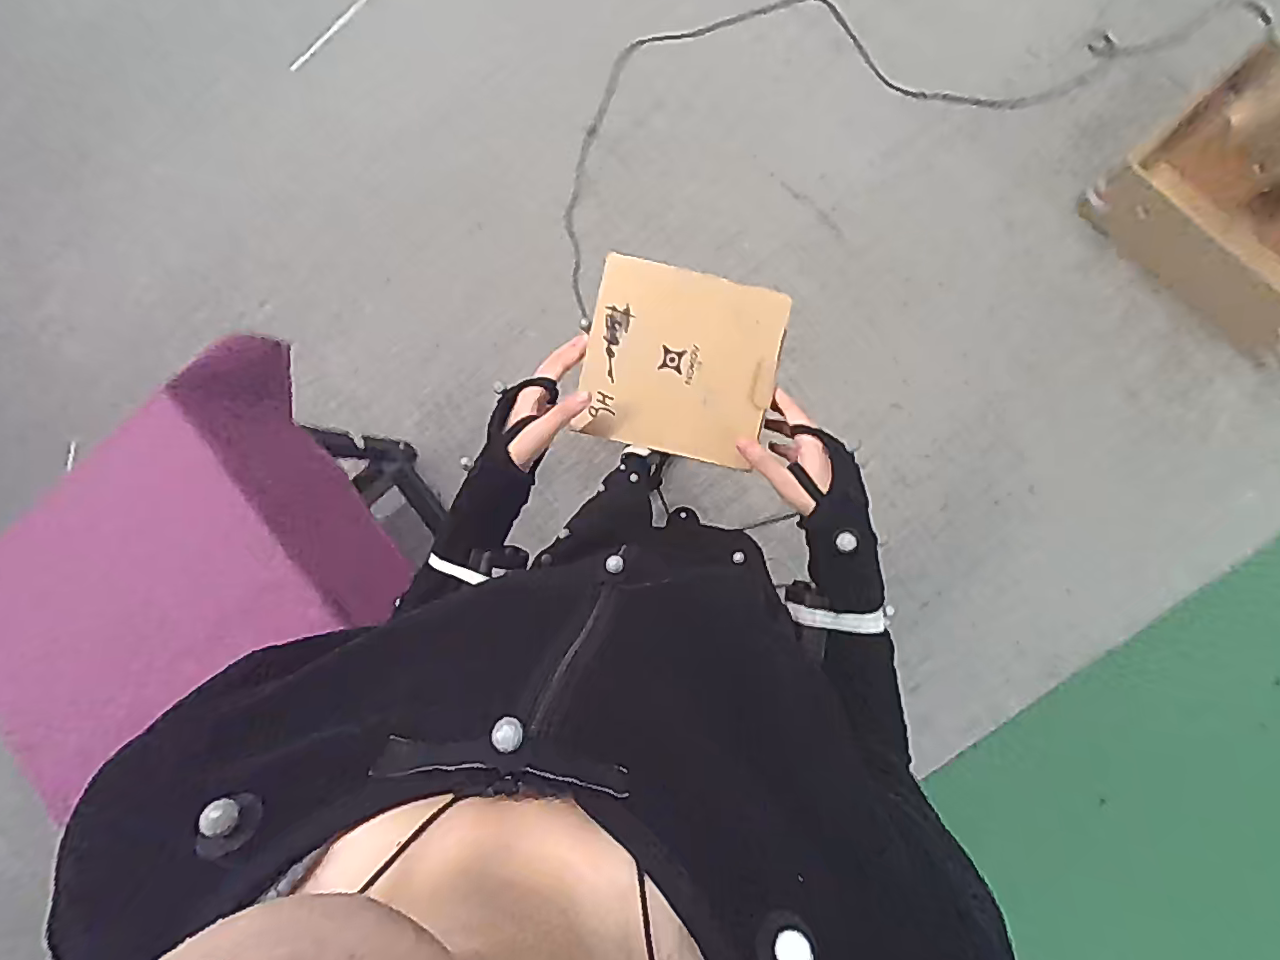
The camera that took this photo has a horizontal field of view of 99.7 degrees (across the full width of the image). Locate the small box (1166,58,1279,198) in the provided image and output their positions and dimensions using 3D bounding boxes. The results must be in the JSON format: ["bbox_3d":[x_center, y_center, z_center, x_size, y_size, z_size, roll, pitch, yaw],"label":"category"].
[{"bbox_3d":[1.365,-0.778,1.212,0.168,0.176,0.179,-45,87,7],"label":"small box"}]

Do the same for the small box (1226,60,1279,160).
[{"bbox_3d":[1.339,-0.756,1.052,0.179,0.176,0.168,29,95,6],"label":"small box"}]

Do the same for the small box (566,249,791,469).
[{"bbox_3d":[0.035,-0.116,0.575,0.179,0.176,0.168,14,94,-1],"label":"small box"}]
